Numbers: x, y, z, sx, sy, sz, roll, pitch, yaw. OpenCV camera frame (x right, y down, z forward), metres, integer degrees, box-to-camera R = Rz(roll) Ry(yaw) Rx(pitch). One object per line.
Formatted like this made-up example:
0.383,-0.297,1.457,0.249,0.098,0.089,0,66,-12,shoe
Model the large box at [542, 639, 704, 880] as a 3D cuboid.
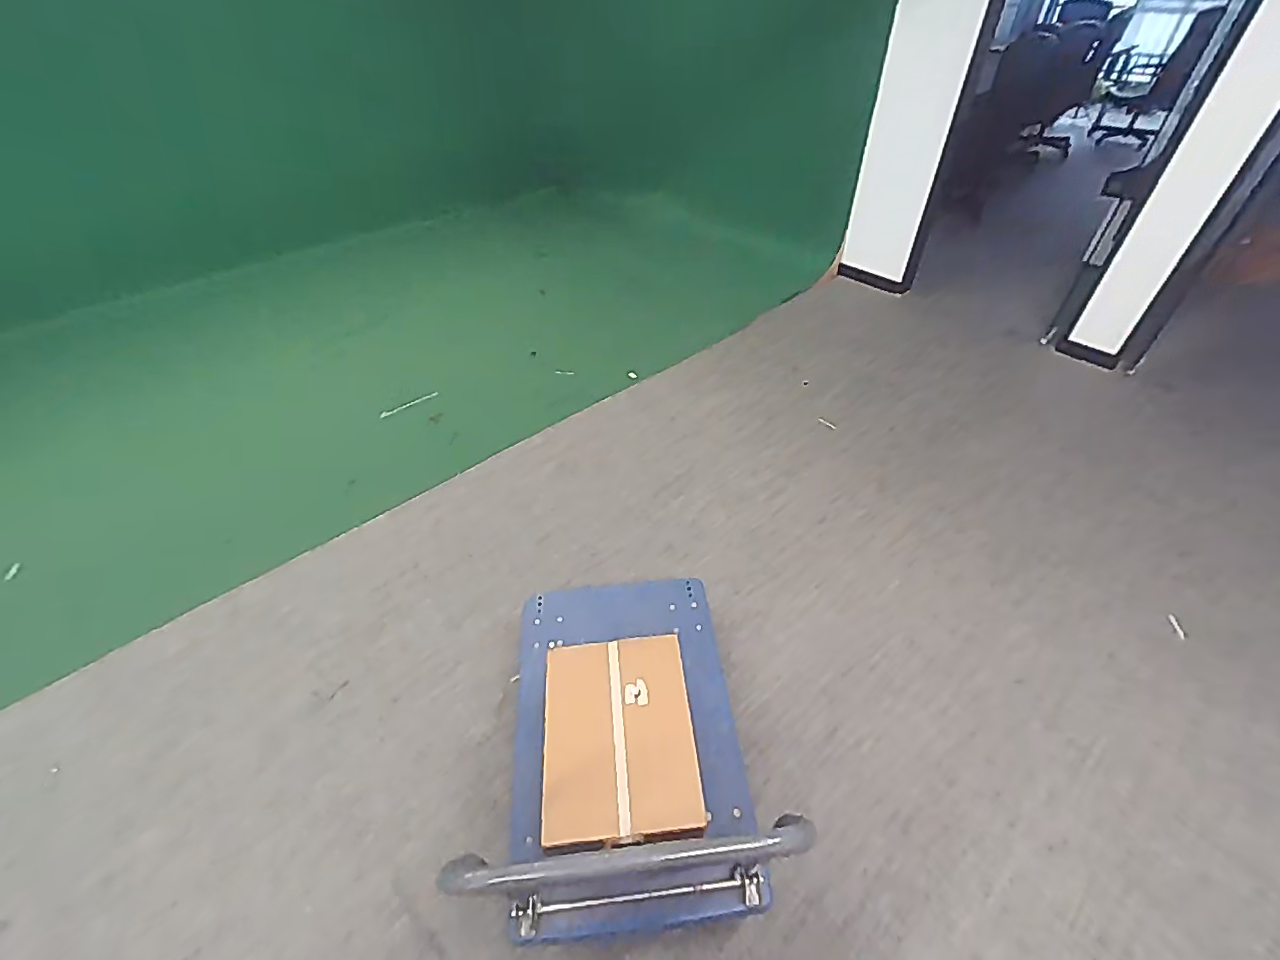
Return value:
-0.042,0.643,1.262,0.320,0.320,0.408,-5,43,-2,large box
